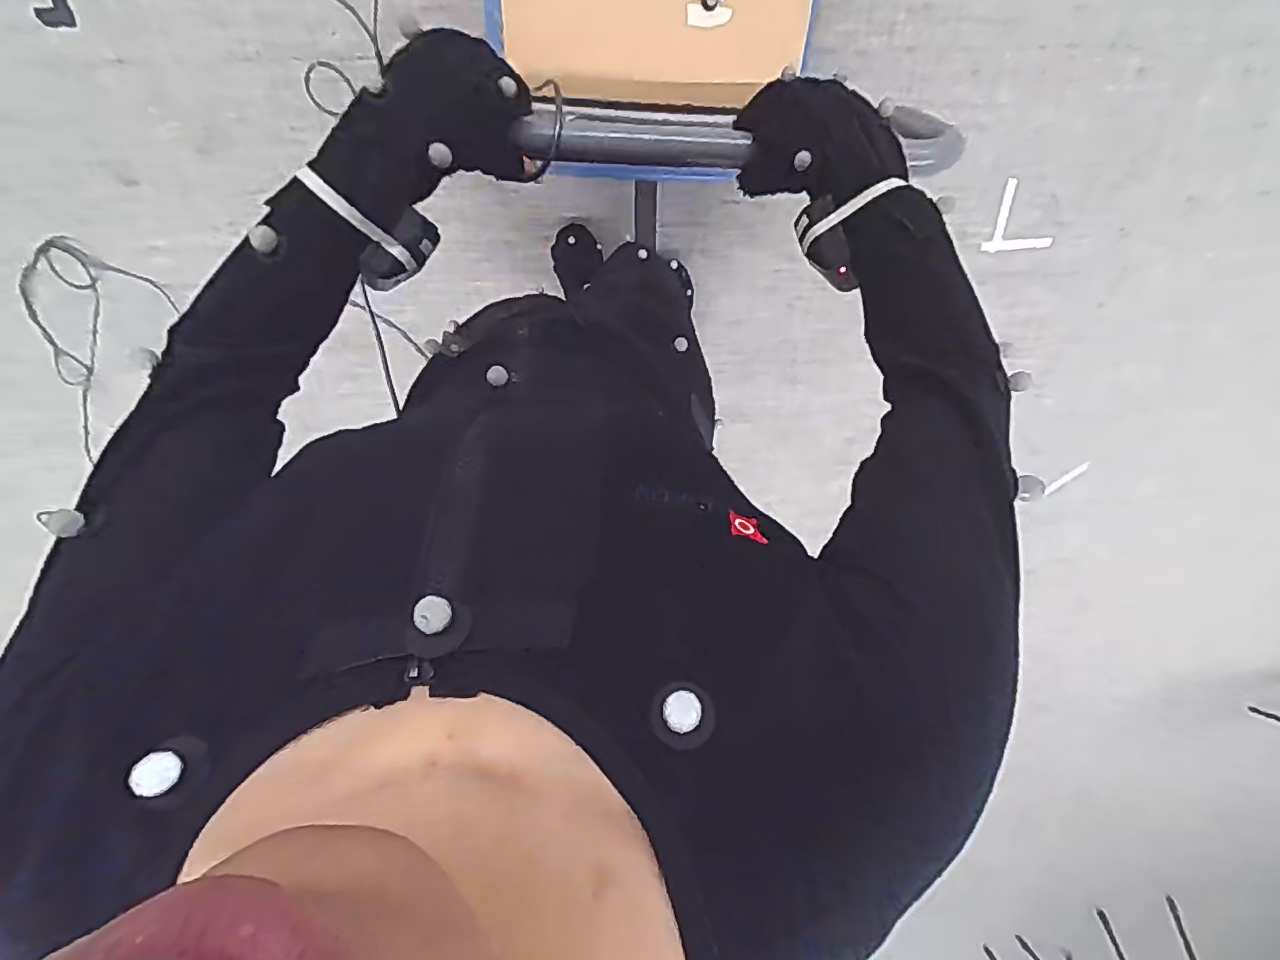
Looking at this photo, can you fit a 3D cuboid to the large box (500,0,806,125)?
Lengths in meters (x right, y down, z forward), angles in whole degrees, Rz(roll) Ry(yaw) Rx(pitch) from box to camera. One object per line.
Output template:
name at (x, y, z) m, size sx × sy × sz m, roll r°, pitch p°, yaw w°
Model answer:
large box at (0.008, -0.727, 0.805) m, size 0.408 × 0.320 × 0.320 m, roll 0°, pitch 121°, yaw -5°
